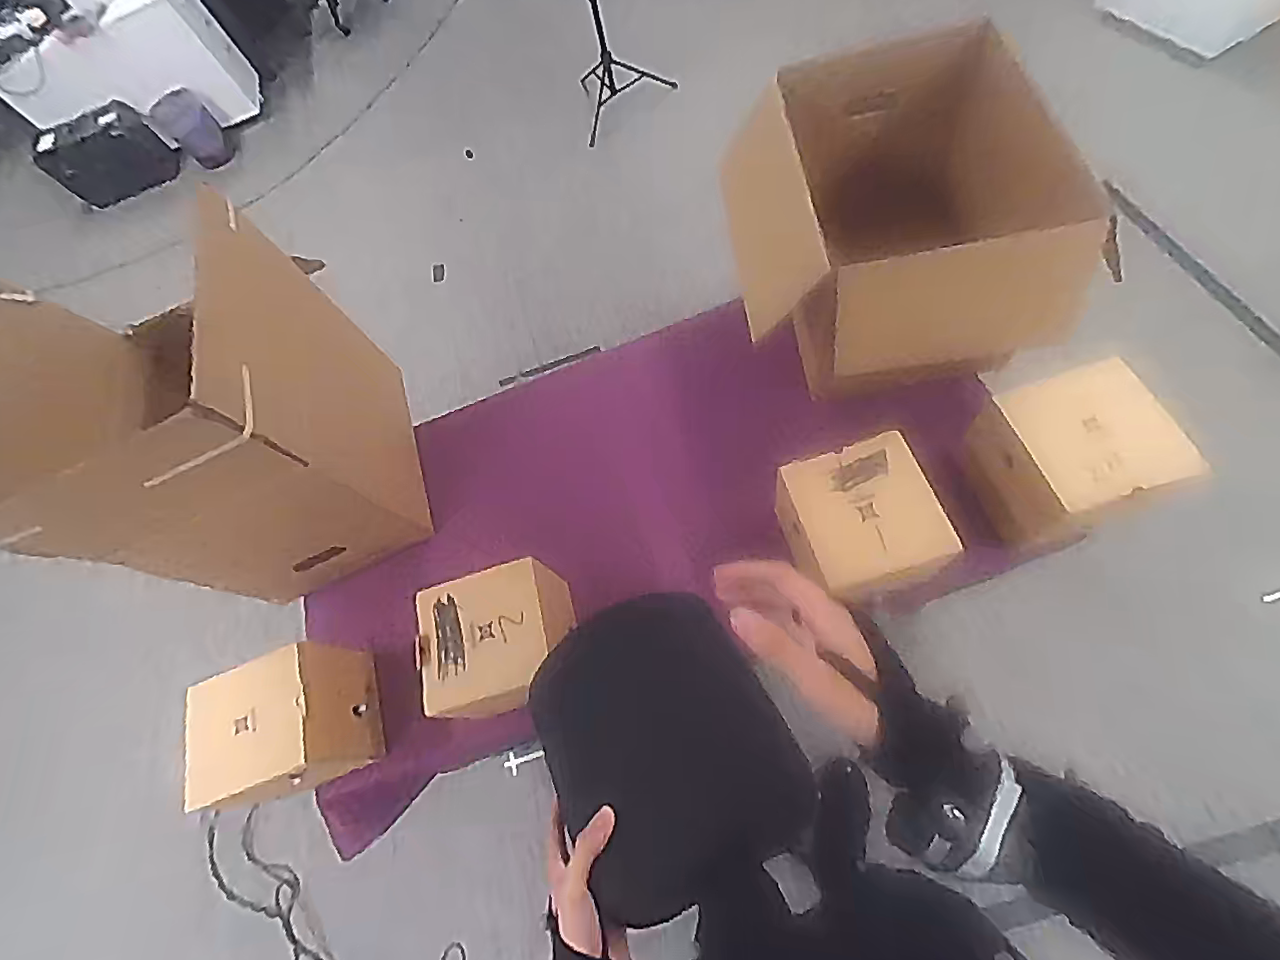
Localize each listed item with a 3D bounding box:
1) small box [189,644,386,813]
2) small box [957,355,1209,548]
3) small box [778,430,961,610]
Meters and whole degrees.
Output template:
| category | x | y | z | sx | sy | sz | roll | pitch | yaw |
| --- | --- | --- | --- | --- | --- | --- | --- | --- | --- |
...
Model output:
| category | x | y | z | sx | sy | sz | roll | pitch | yaw |
| --- | --- | --- | --- | --- | --- | --- | --- | --- | --- |
| small box | -0.512 | 0.365 | 0.801 | 0.179 | 0.176 | 0.168 | -23 | 64 | 0 |
| small box | 0.565 | -0.030 | 0.727 | 0.168 | 0.176 | 0.179 | -18 | 64 | 5 |
| small box | 0.297 | 0.063 | 0.750 | 0.168 | 0.176 | 0.179 | -19 | 65 | 5 |
